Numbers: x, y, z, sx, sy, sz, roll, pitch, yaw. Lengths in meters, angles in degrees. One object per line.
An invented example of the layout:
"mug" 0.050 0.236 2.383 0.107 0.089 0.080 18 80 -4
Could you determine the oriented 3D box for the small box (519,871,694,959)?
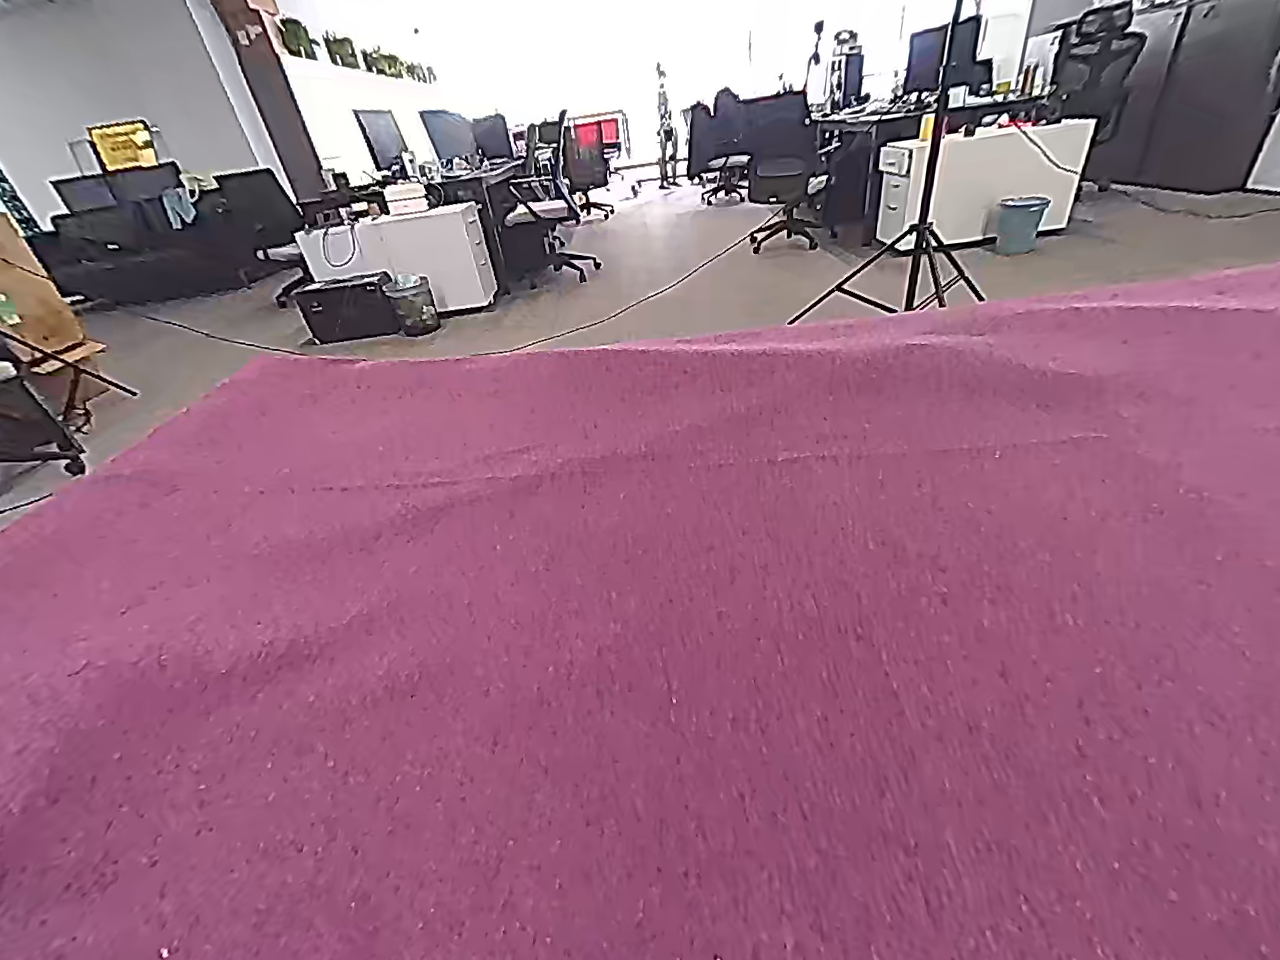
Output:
"small box" -0.025 0.530 0.536 0.168 0.176 0.179 -9 36 0
